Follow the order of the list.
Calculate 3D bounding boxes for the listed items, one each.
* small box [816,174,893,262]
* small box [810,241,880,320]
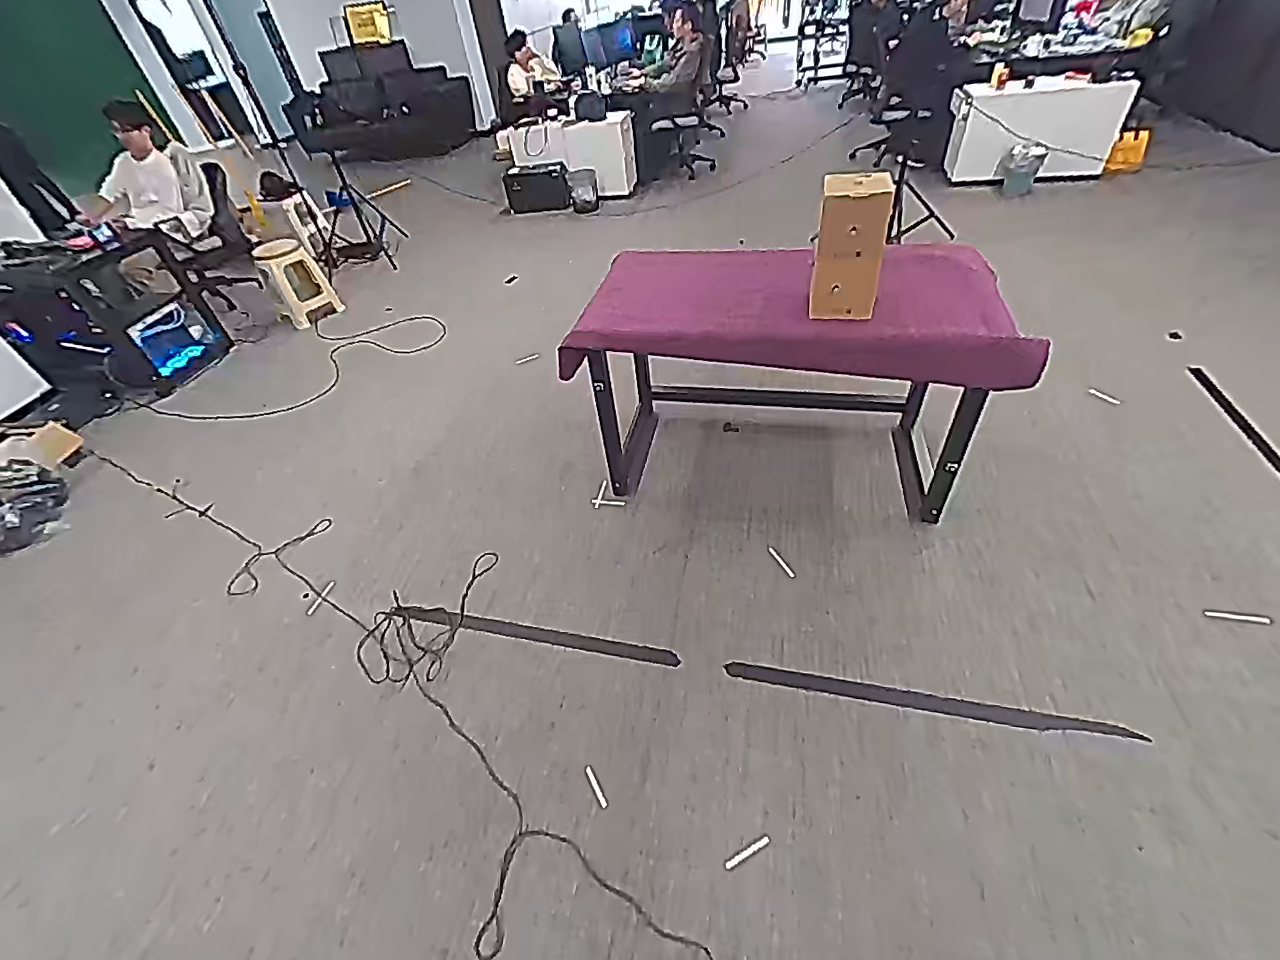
[{"bbox_3d":[0.564,-0.693,1.436,0.168,0.176,0.179,5,45,14],"label":"small box"},{"bbox_3d":[0.580,-0.571,1.545,0.168,0.176,0.179,5,44,14],"label":"small box"}]
